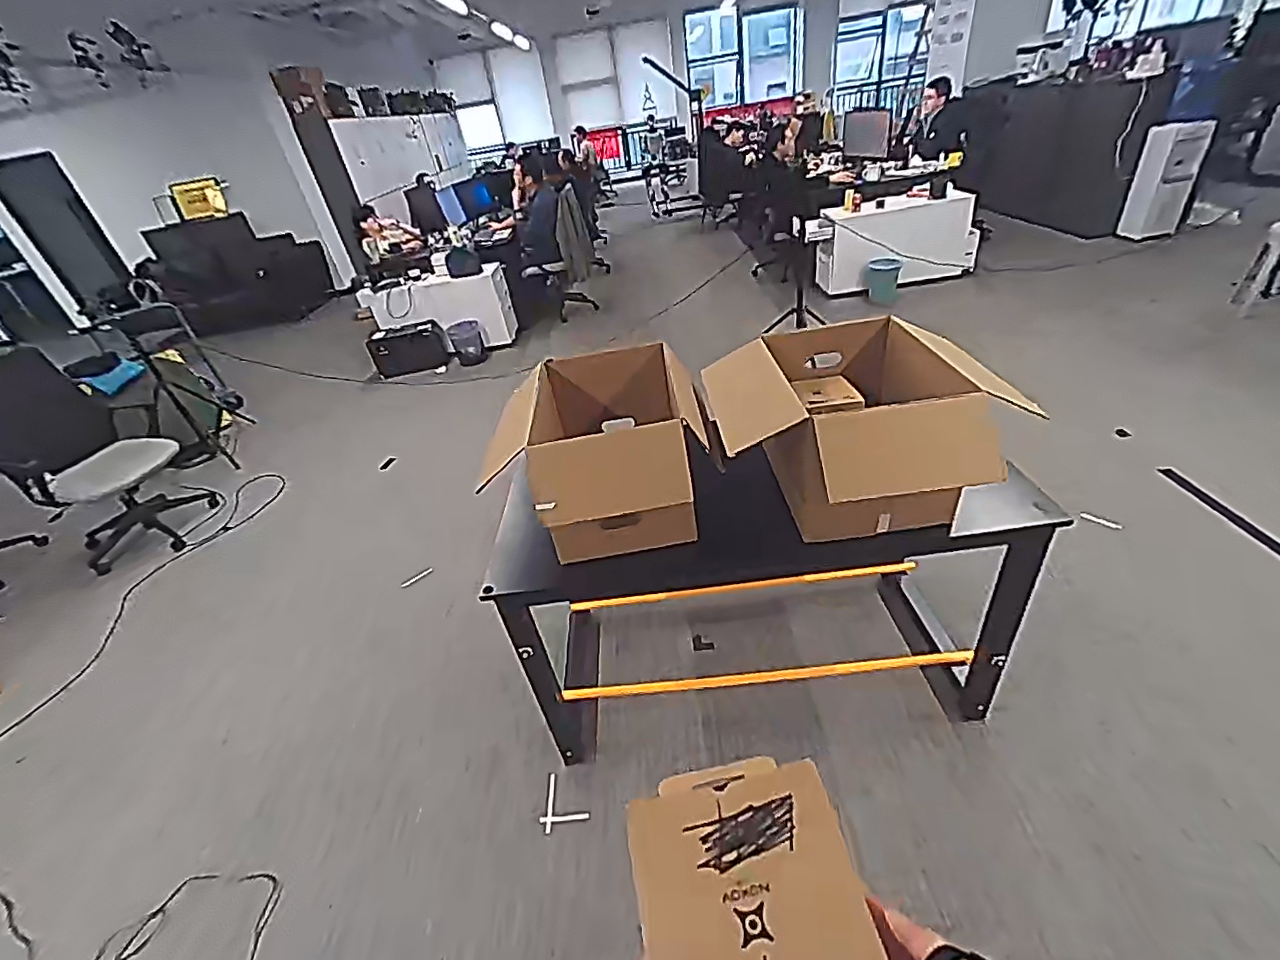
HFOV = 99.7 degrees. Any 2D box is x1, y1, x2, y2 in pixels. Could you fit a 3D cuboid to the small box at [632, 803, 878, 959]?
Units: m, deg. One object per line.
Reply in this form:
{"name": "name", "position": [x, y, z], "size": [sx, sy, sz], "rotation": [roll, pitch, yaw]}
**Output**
{"name": "small box", "position": [0.095, 0.397, 0.442], "size": [0.168, 0.176, 0.179], "rotation": [-13, 47, -1]}
